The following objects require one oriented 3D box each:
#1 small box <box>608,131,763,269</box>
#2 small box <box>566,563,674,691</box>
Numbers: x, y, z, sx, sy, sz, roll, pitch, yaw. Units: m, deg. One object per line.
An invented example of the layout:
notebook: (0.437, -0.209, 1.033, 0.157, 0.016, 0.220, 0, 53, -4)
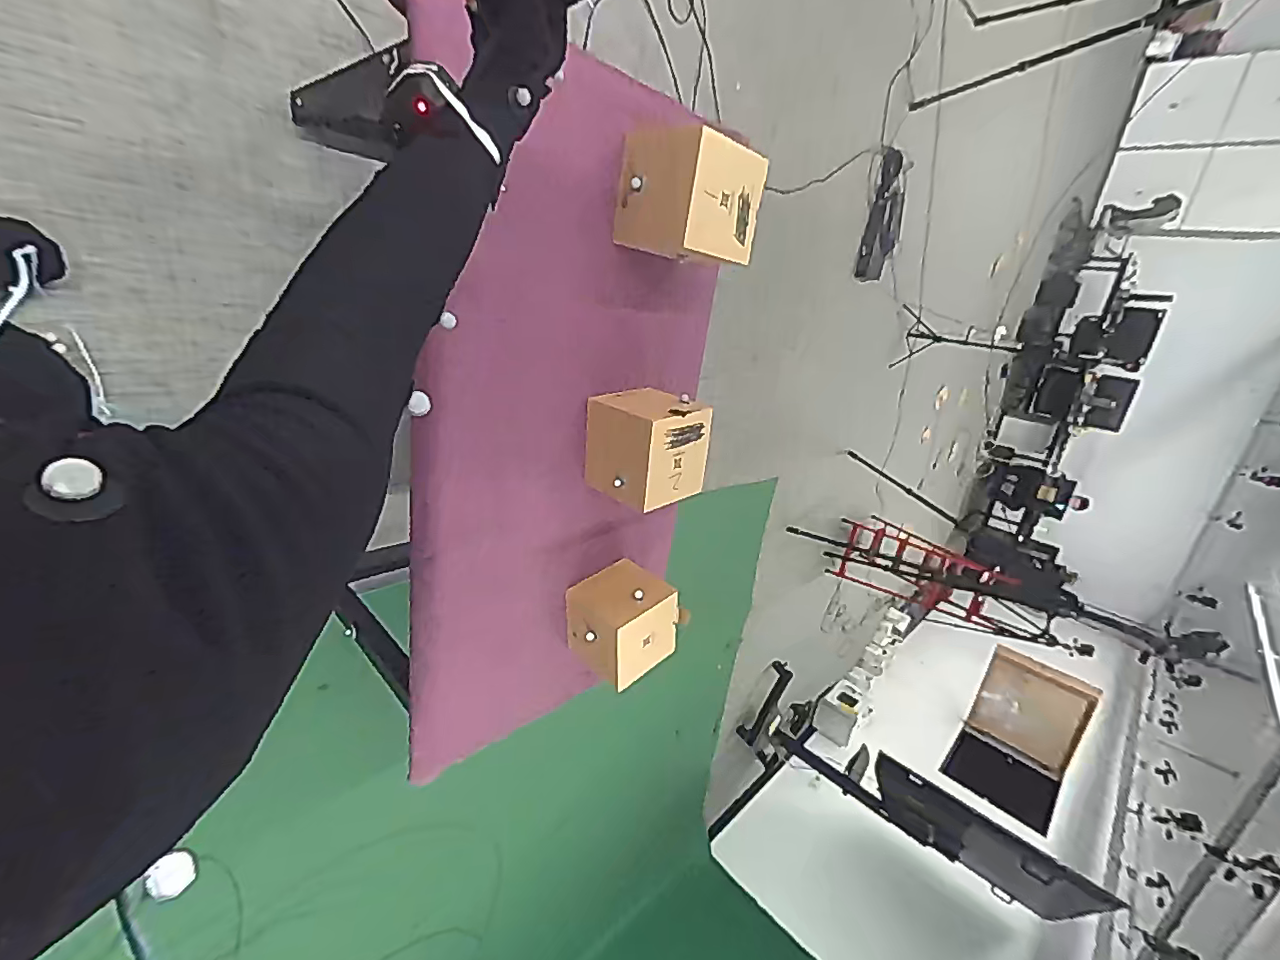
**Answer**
small box: (0.074, -0.459, 0.905, 0.179, 0.176, 0.168, -9, 115, -44)
small box: (-0.047, 0.305, 1.158, 0.179, 0.176, 0.168, -24, 125, -41)
